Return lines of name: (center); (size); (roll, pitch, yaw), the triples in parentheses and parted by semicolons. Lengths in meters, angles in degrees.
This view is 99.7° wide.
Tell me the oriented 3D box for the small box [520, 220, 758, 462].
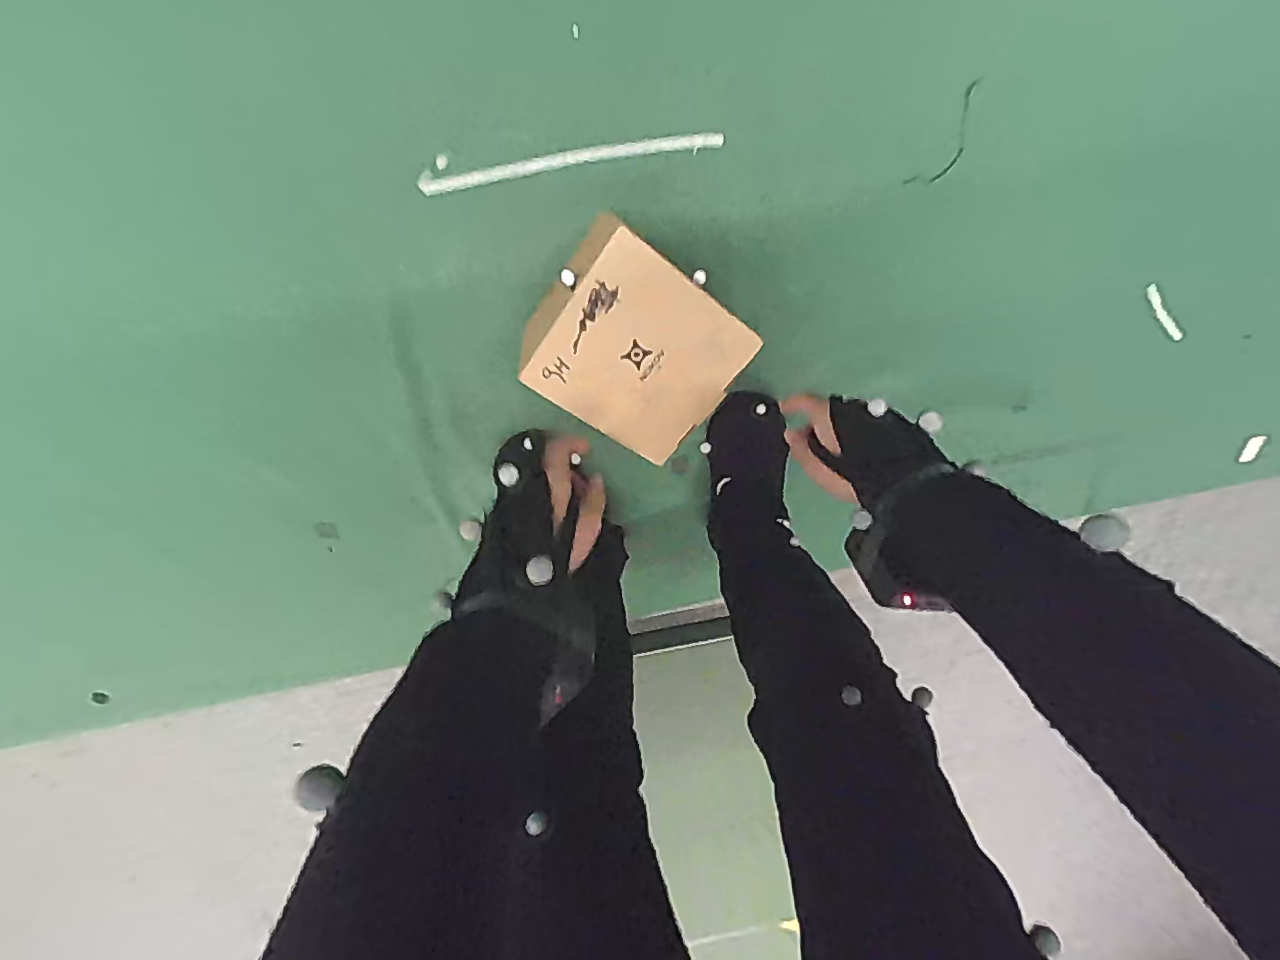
small box: (-0.010, -0.156, 0.585); (0.179, 0.176, 0.168); (31, 111, -25)
